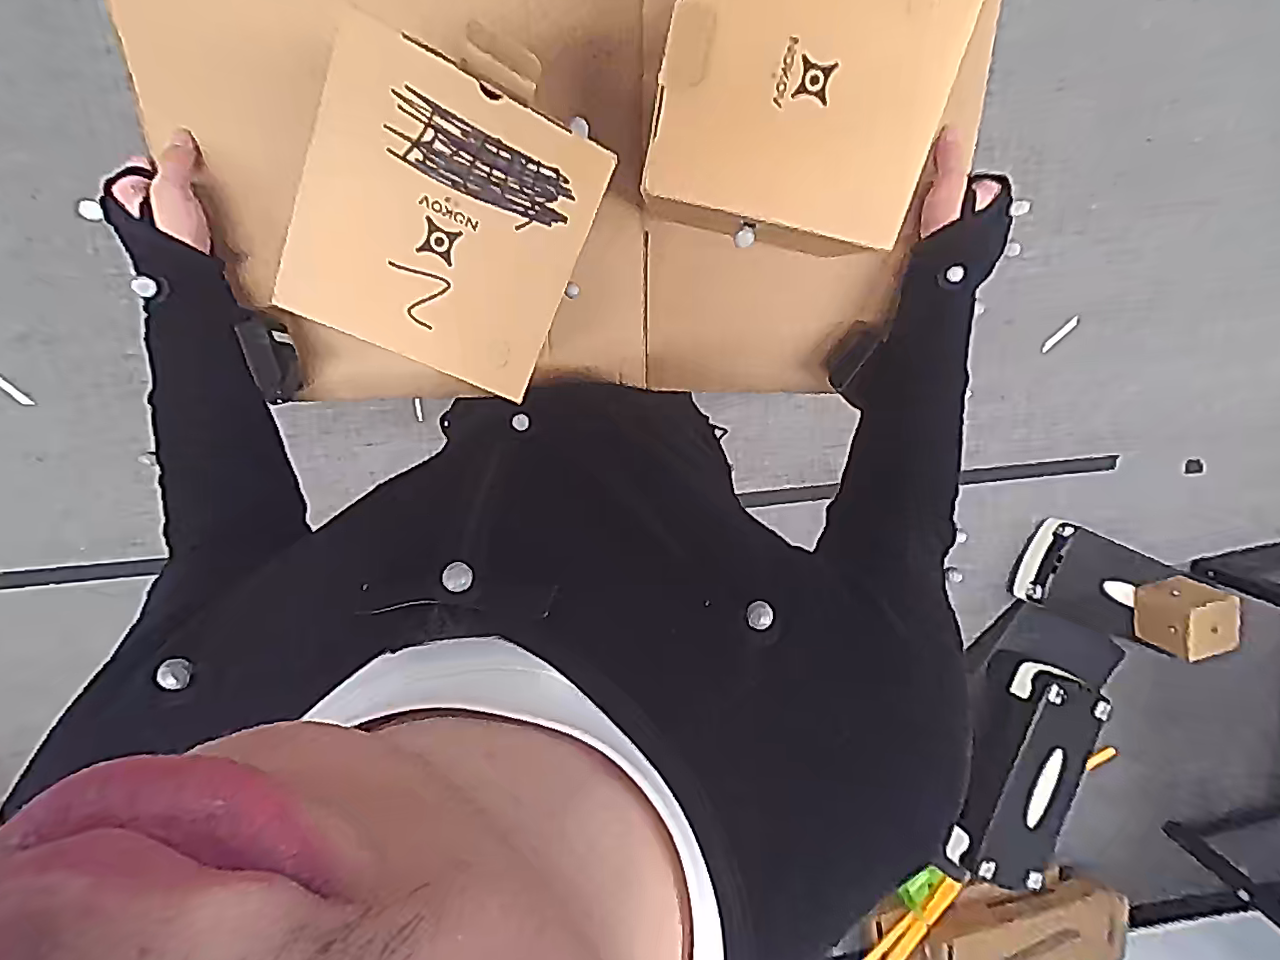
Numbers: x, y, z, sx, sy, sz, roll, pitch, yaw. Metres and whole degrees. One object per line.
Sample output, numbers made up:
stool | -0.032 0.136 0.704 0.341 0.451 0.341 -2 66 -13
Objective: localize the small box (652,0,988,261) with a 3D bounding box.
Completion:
small box | 0.116 -0.278 0.423 0.179 0.176 0.168 14 111 0
